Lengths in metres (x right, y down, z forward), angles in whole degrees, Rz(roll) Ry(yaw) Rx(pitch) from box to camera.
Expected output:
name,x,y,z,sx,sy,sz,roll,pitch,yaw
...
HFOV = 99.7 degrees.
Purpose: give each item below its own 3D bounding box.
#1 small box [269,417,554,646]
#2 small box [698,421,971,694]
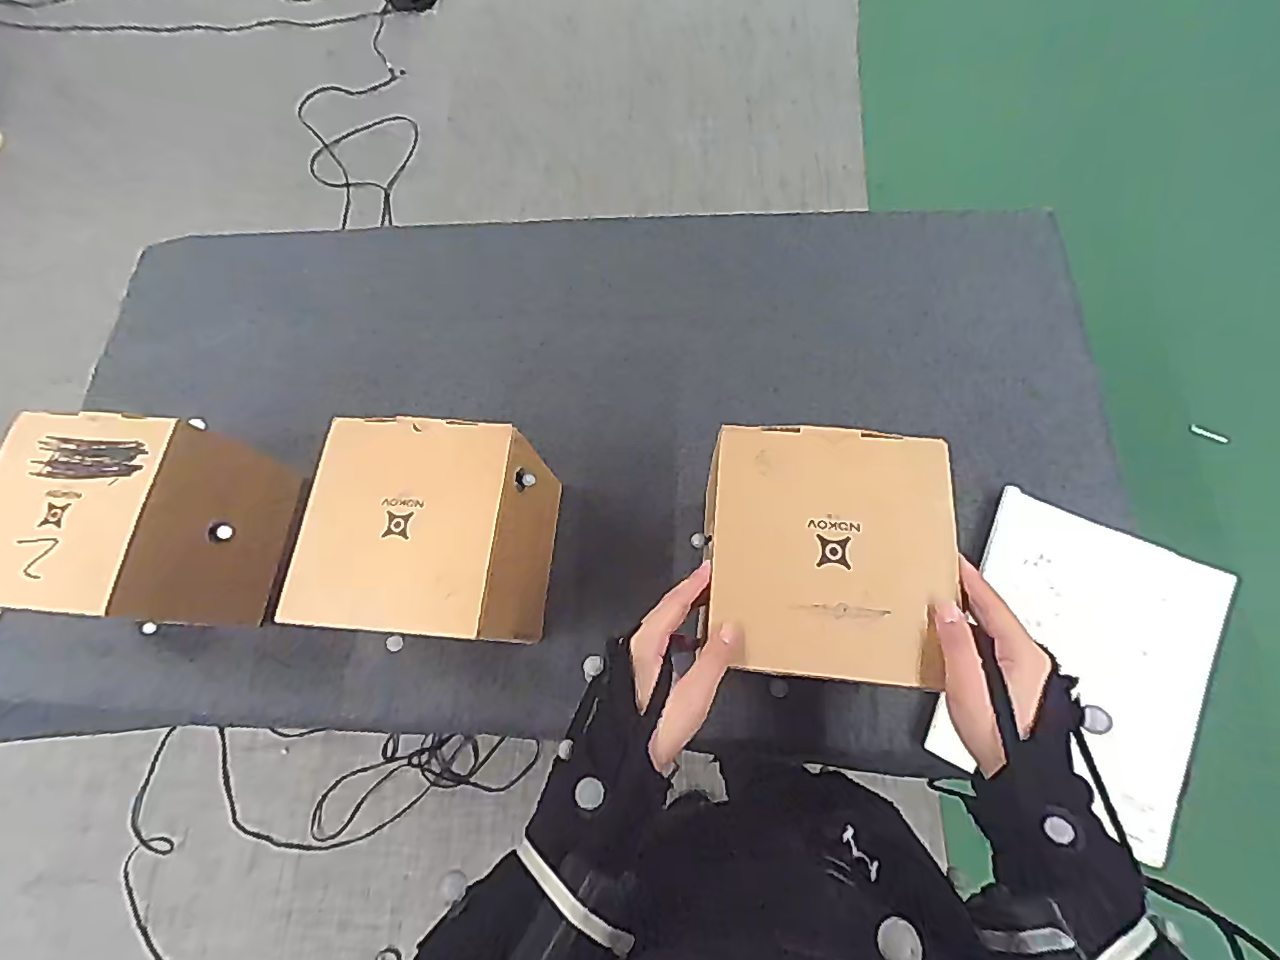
name,x,y,z,sx,sy,sz,roll,pitch,yaw
small box,-0.185,0.057,0.499,0.168,0.176,0.179,2,71,7
small box,0.136,0.069,0.441,0.168,0.176,0.179,3,72,6
